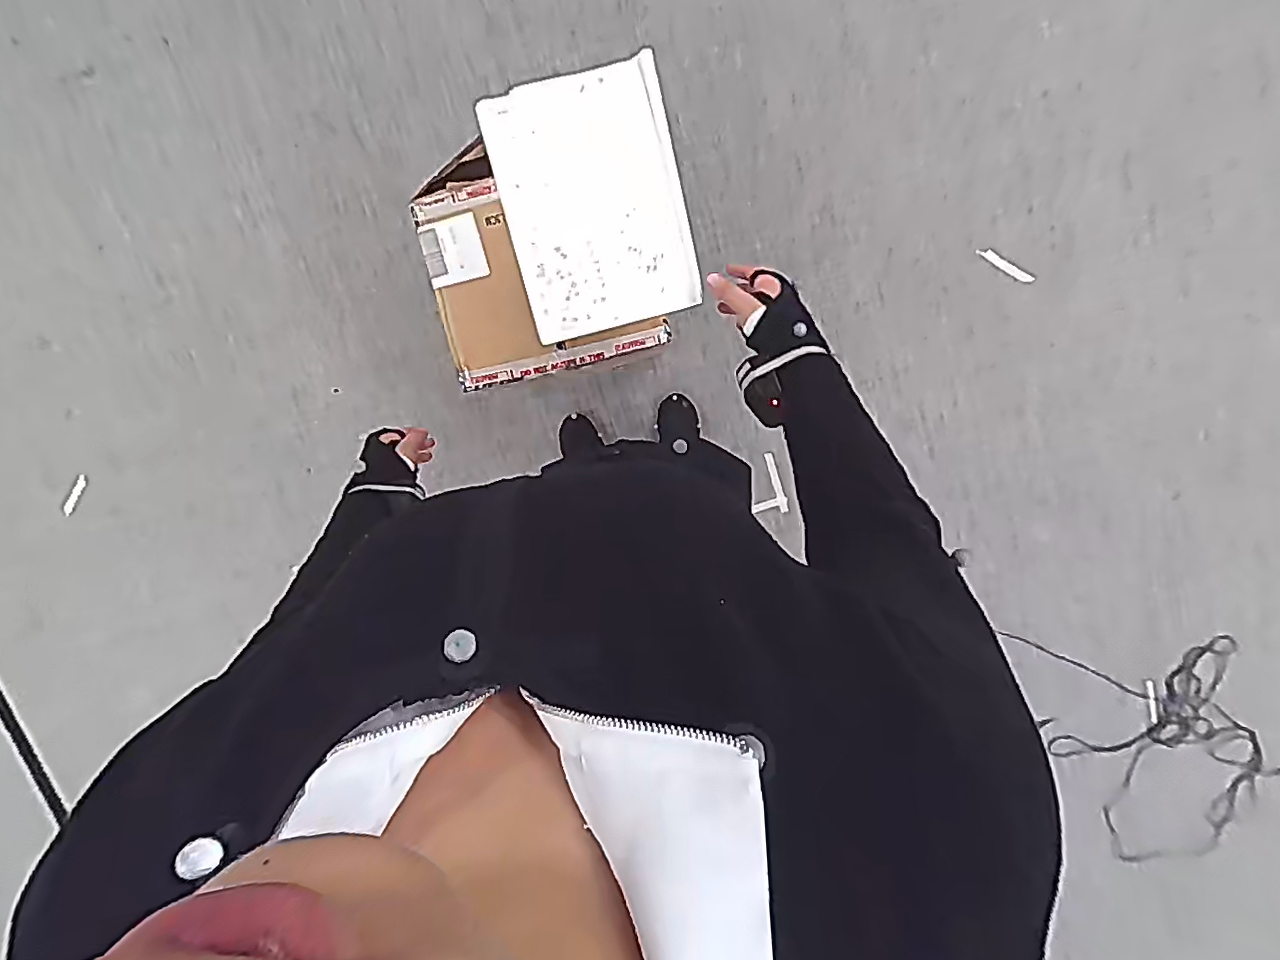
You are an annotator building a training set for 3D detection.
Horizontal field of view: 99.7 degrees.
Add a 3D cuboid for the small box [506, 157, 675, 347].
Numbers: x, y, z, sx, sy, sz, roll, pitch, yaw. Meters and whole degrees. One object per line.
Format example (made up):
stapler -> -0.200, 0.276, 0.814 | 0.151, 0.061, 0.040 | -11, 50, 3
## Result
small box -> -0.059, -0.282, 0.708 | 0.168, 0.176, 0.179 | -14, 101, 1
